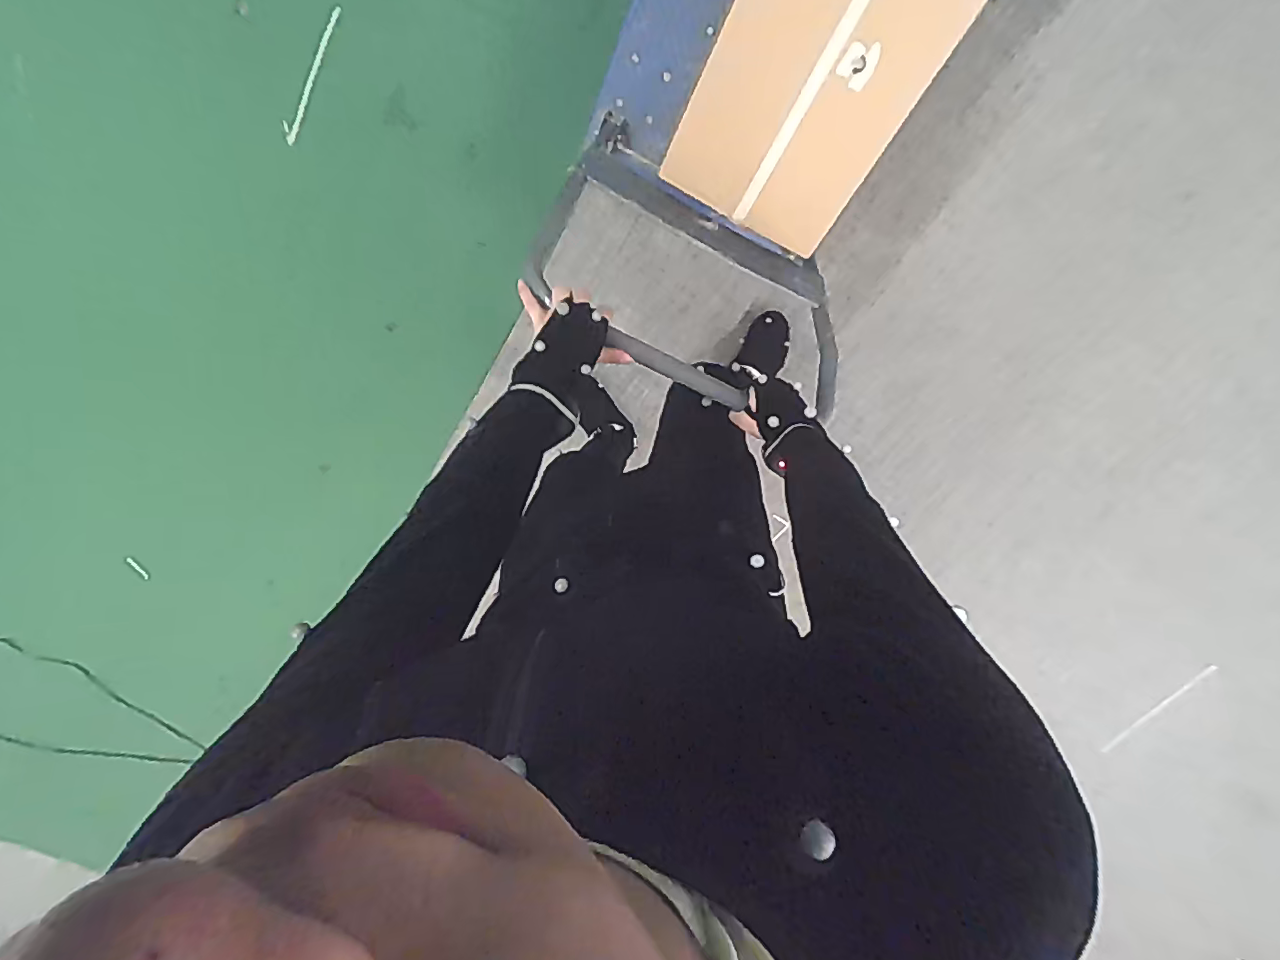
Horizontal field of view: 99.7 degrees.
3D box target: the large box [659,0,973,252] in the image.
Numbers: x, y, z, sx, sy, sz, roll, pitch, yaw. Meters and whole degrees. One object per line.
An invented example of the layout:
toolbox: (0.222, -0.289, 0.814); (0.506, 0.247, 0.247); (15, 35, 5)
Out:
large box: (0.267, -0.702, 0.959); (0.320, 0.320, 0.408); (24, 130, -13)
